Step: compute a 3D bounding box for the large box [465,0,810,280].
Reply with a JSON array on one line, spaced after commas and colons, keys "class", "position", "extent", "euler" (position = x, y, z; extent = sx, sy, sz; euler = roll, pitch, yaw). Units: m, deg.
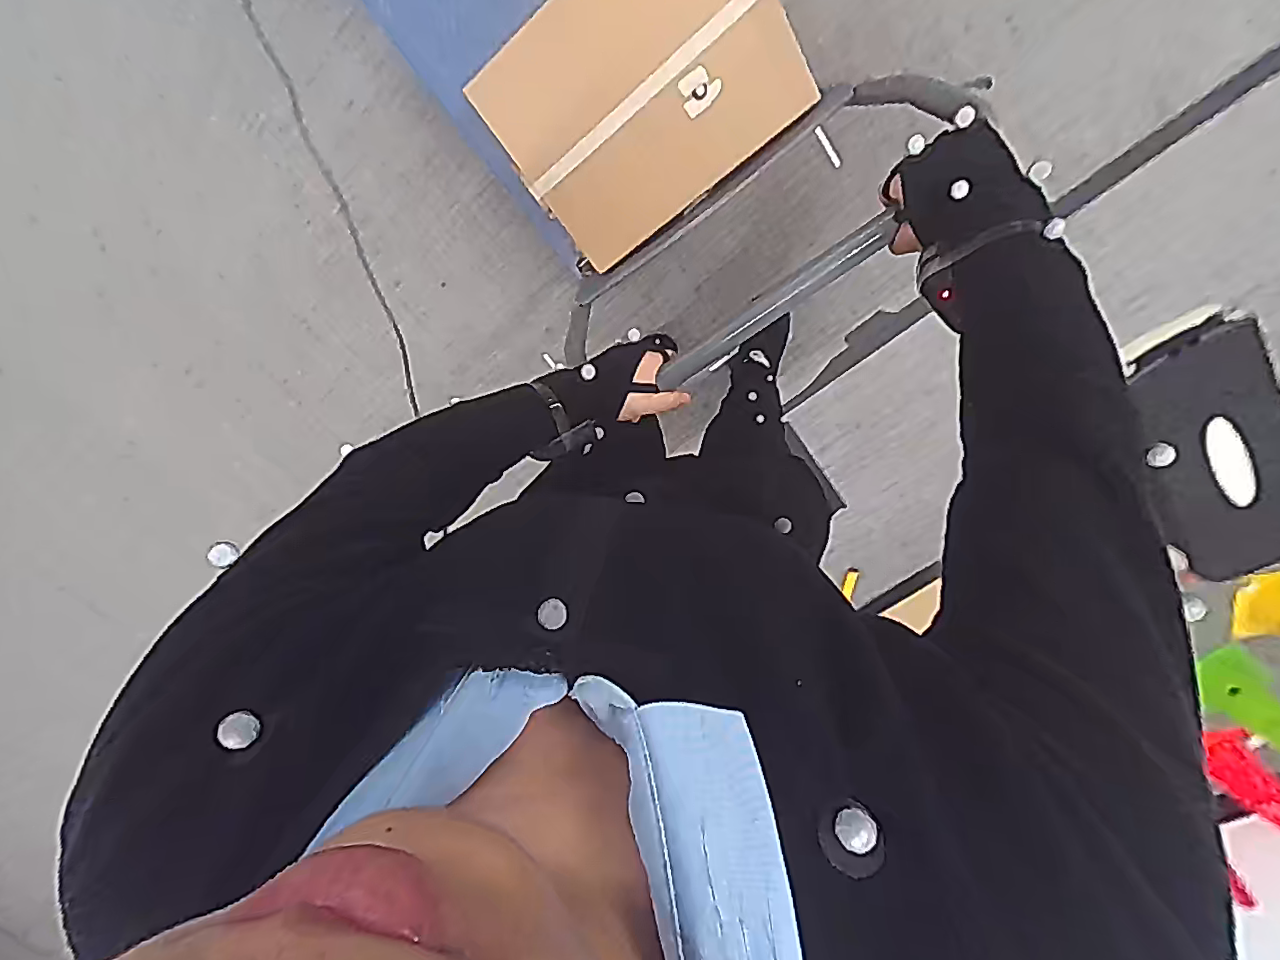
[{"class": "large box", "position": [-0.006, -0.605, 0.892], "extent": [0.408, 0.320, 0.320], "euler": [-33, 116, 17]}]
